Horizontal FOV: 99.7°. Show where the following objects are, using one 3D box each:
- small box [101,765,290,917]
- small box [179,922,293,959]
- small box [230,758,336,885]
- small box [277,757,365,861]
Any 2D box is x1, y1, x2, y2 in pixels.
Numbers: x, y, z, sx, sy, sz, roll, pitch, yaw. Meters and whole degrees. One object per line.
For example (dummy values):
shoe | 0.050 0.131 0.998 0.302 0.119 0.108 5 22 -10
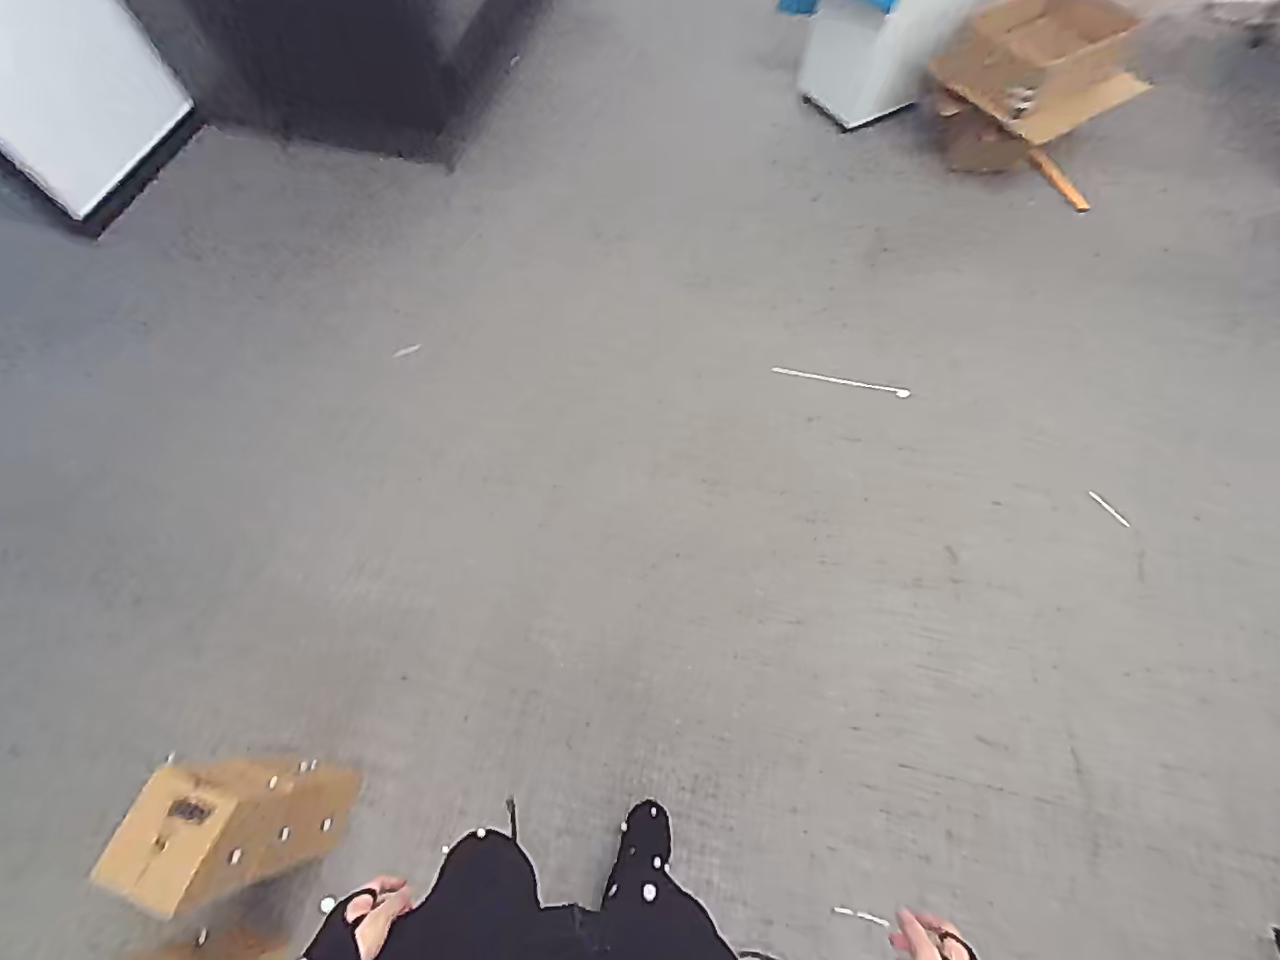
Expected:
small box | -0.787 0.640 0.986 0.168 0.176 0.179 17 66 9
small box | -0.885 1.074 1.137 0.179 0.176 0.168 15 64 9
small box | -0.784 0.705 1.136 0.168 0.176 0.179 15 65 8
small box | -0.793 0.775 1.284 0.168 0.176 0.179 13 65 7
